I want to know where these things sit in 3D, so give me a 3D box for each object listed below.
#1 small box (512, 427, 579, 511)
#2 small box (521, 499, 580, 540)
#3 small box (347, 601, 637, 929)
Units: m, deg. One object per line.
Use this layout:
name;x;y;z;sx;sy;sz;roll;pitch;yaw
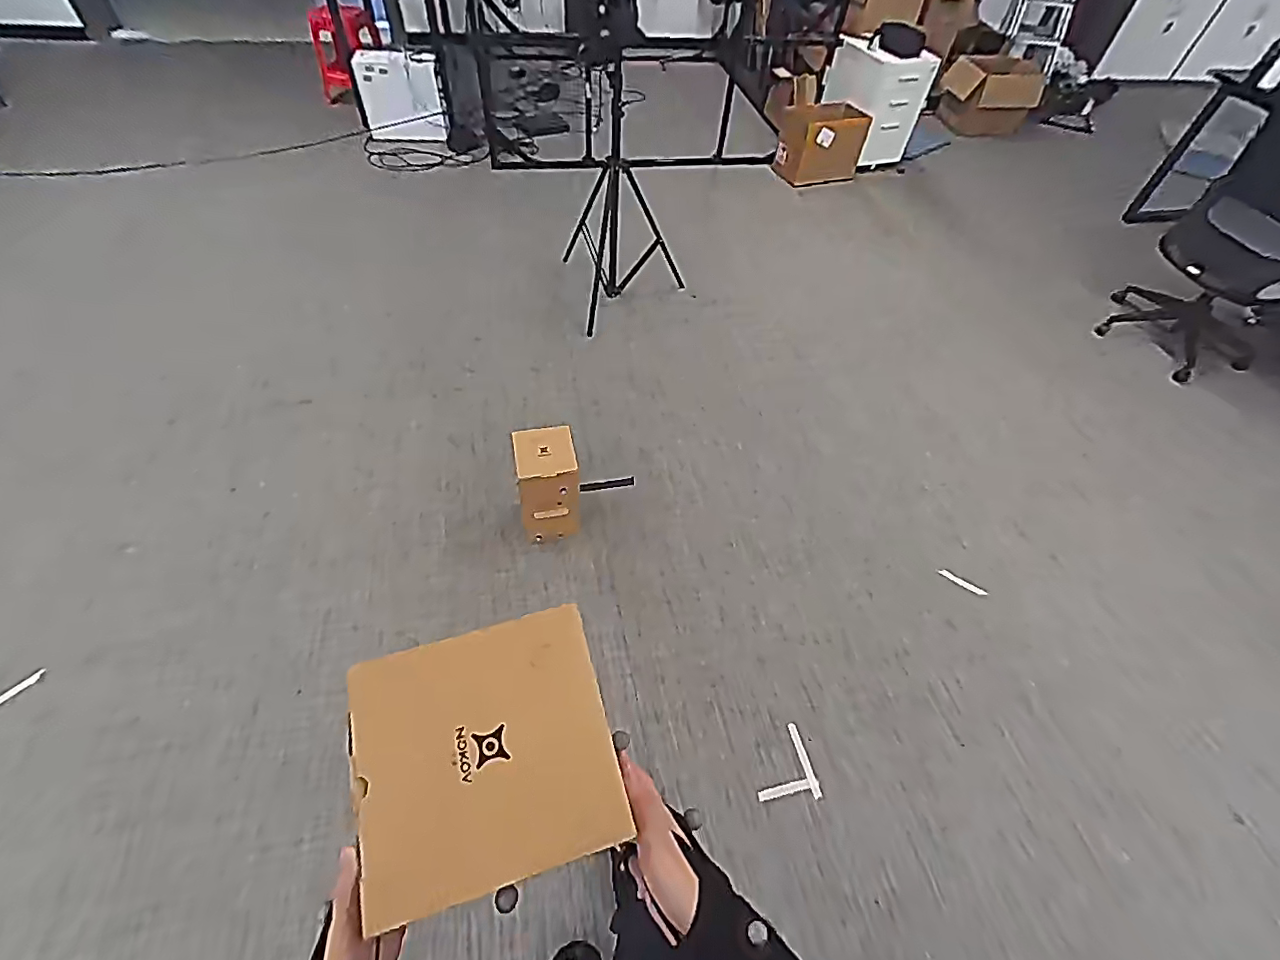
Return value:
small box;-0.271;-0.025;1.568;0.168;0.176;0.179;-9;53;-12
small box;-0.283;0.074;1.696;0.168;0.176;0.179;-9;53;-11
small box;-0.113;0.219;0.448;0.179;0.176;0.168;-15;65;-10
